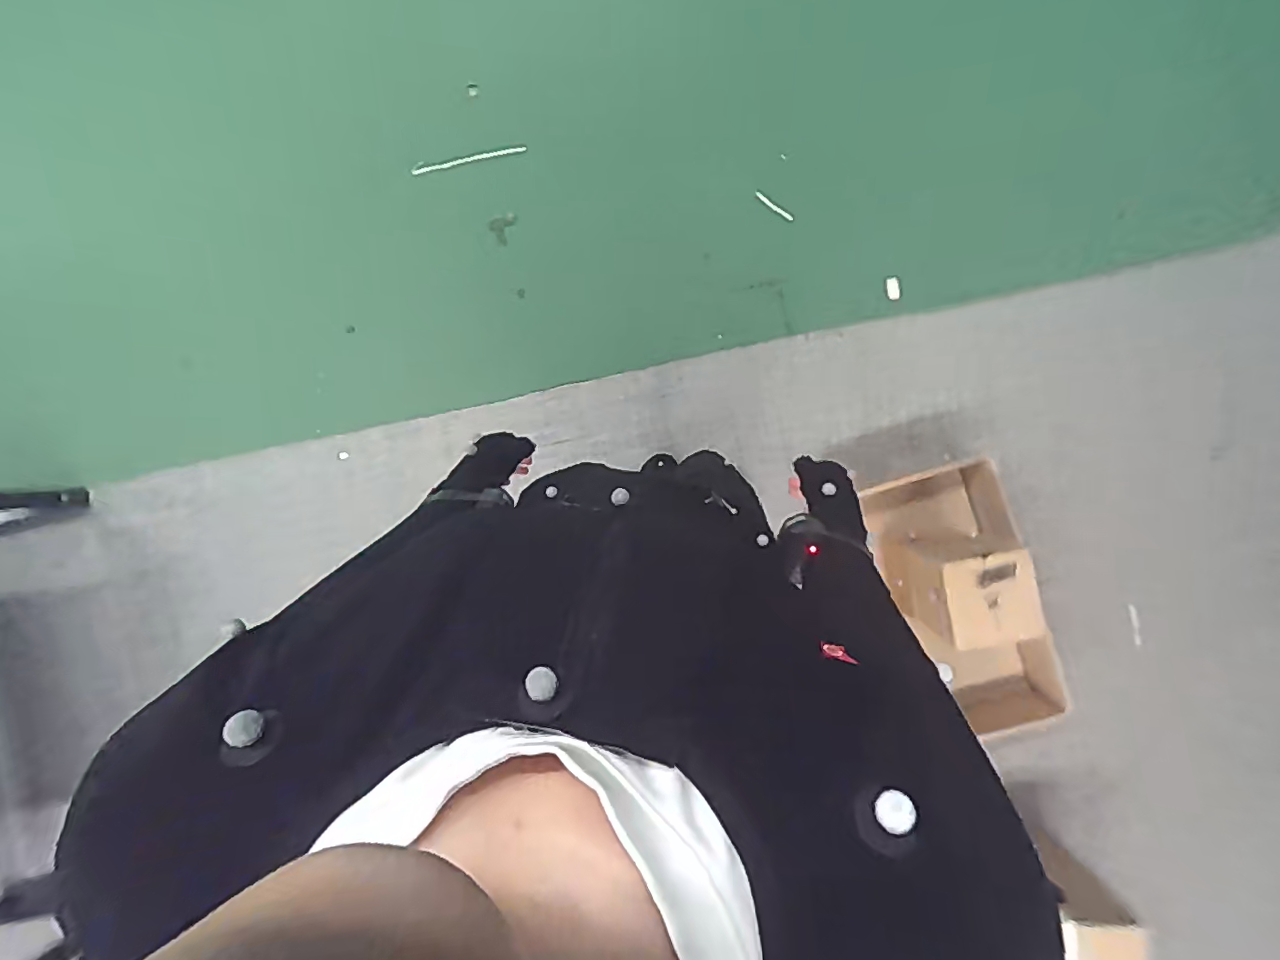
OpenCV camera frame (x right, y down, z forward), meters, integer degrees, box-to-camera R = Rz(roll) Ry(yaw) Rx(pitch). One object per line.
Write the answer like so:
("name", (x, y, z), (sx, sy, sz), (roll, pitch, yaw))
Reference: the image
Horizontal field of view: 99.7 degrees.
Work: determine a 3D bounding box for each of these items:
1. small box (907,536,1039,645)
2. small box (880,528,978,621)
("small box", (0.678, 0.219, 1.120), (0.168, 0.176, 0.179), (-11, 93, 6))
("small box", (0.690, 0.214, 1.284), (0.168, 0.176, 0.179), (-10, 93, 6))
